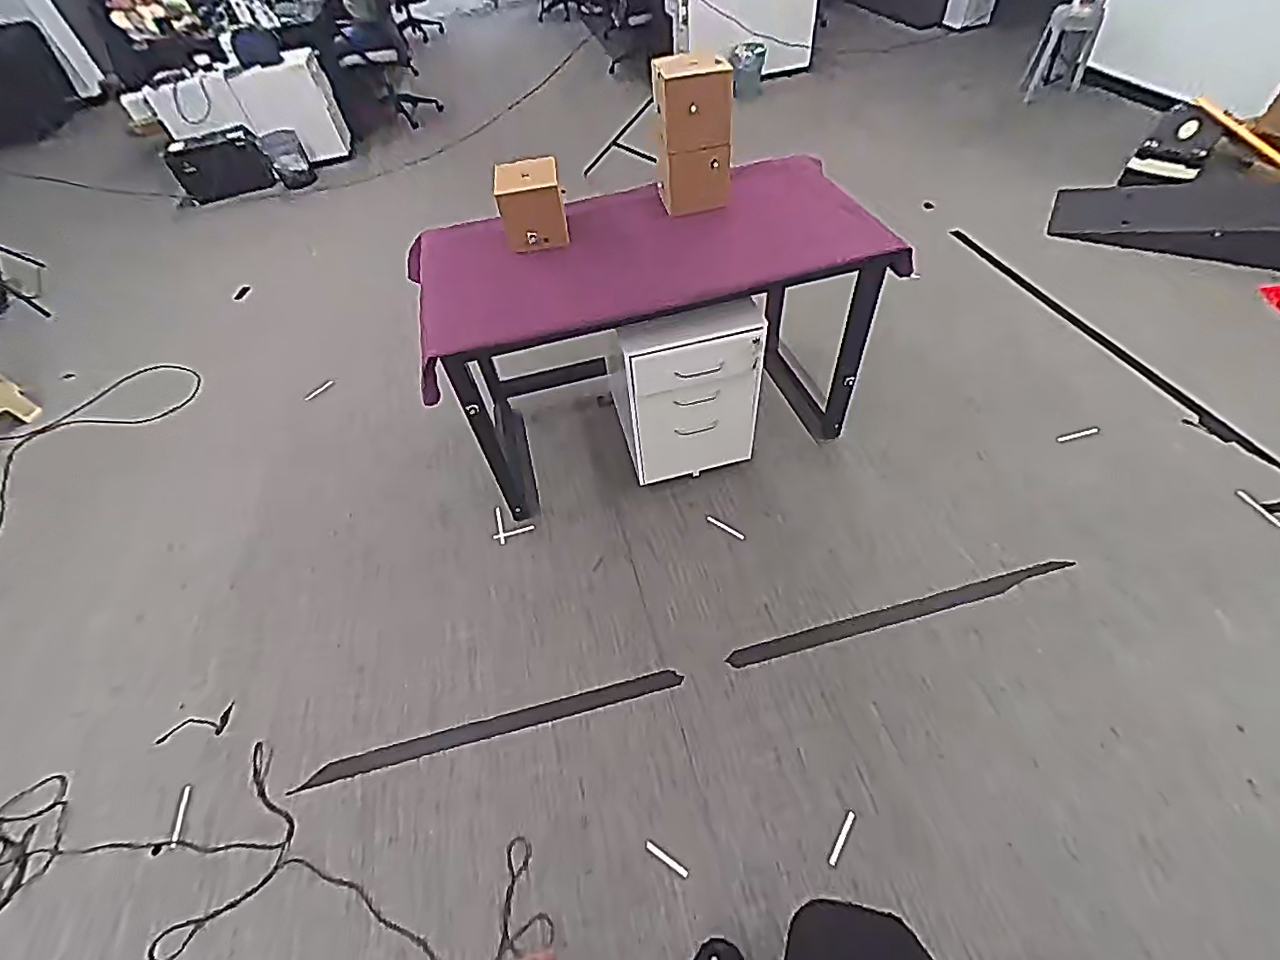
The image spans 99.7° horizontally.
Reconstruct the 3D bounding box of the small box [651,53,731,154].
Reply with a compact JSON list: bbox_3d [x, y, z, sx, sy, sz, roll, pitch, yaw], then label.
[{"bbox_3d":[0.133,-0.980,1.415,0.179,0.176,0.168,-11,52,-2],"label":"small box"}]

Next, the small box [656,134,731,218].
[{"bbox_3d":[0.149,-0.878,1.543,0.179,0.176,0.168,-12,52,-3],"label":"small box"}]

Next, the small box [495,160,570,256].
[{"bbox_3d":[-0.294,-0.747,1.489,0.168,0.176,0.179,-11,53,-1],"label":"small box"}]
